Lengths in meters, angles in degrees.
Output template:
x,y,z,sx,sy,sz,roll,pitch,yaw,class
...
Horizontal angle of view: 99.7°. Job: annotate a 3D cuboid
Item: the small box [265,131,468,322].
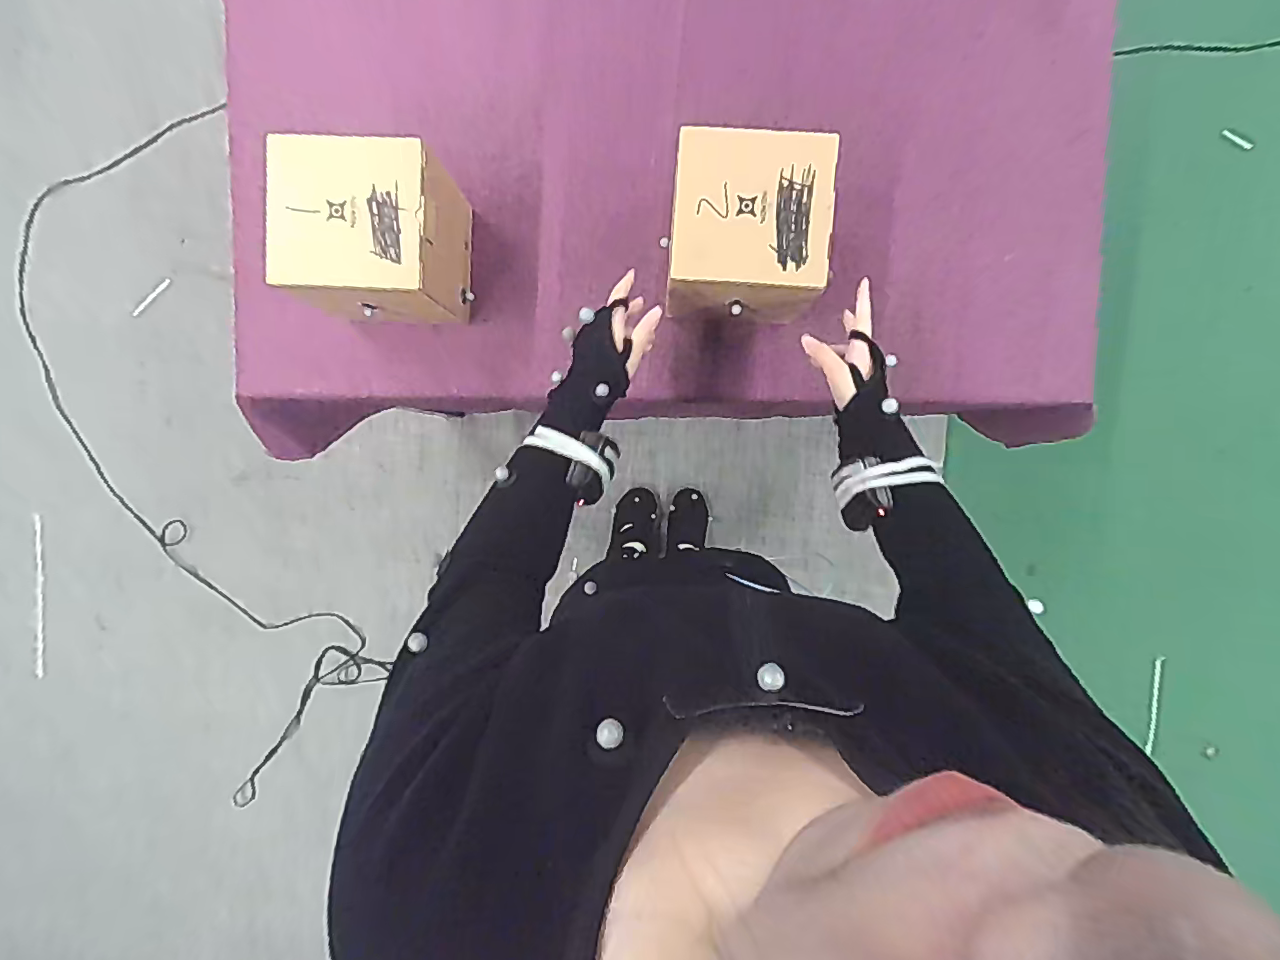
x,y,z,sx,sy,sz,roll,pitch,yaw,class
-0.326,-0.301,0.676,0.179,0.176,0.168,2,92,1,small box
